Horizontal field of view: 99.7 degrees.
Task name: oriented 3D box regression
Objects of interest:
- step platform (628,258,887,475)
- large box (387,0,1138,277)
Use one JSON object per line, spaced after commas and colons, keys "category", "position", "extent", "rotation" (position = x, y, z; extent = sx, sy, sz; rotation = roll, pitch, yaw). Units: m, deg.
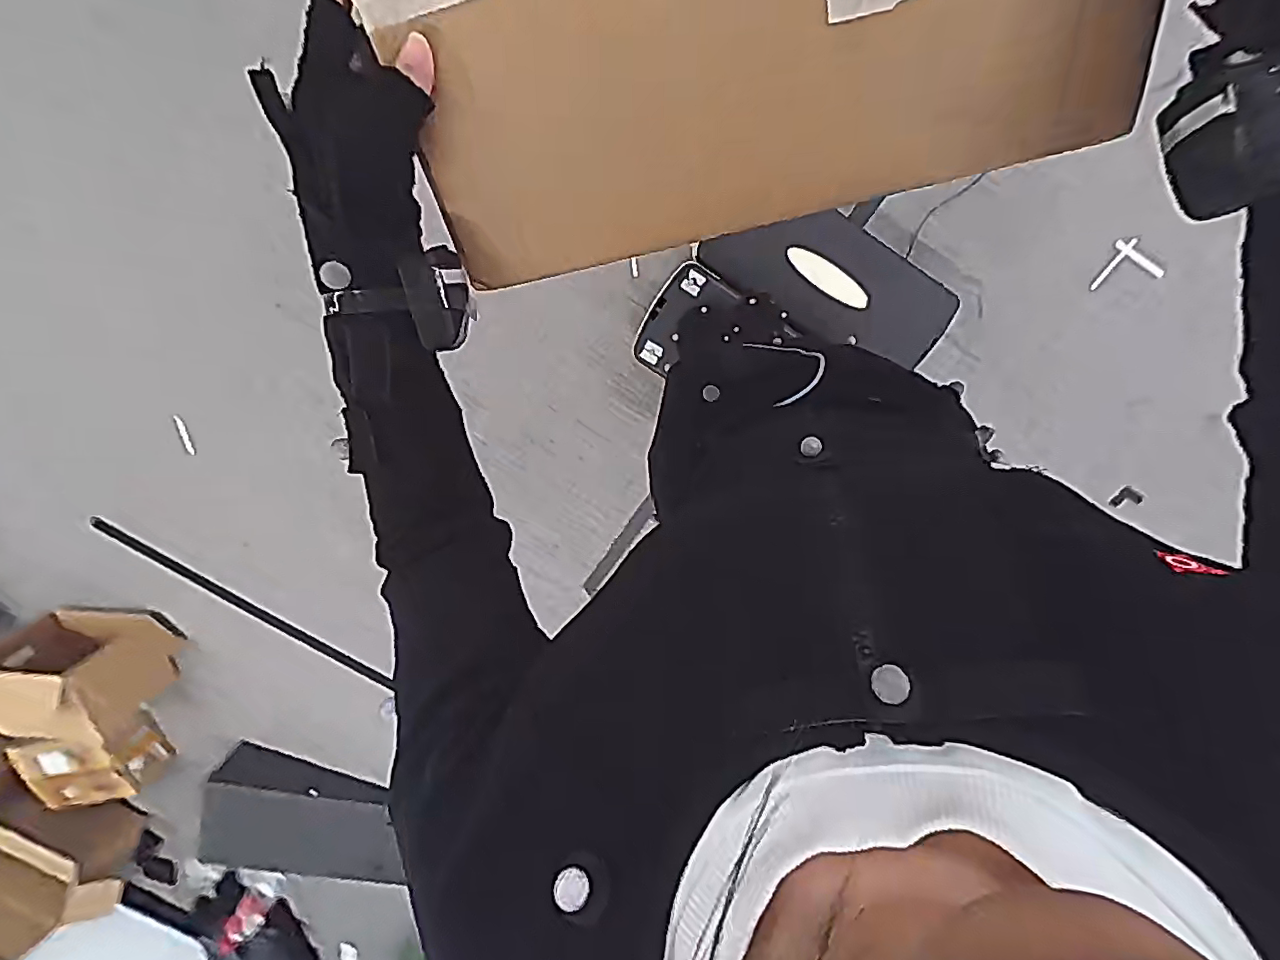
{"category": "step platform", "position": [0.307, -0.299, 1.460], "extent": [0.684, 0.204, 0.286], "rotation": [32, 109, -4]}
{"category": "large box", "position": [0.056, -0.383, 0.393], "extent": [0.408, 0.320, 0.320], "rotation": [-9, 124, 10]}
